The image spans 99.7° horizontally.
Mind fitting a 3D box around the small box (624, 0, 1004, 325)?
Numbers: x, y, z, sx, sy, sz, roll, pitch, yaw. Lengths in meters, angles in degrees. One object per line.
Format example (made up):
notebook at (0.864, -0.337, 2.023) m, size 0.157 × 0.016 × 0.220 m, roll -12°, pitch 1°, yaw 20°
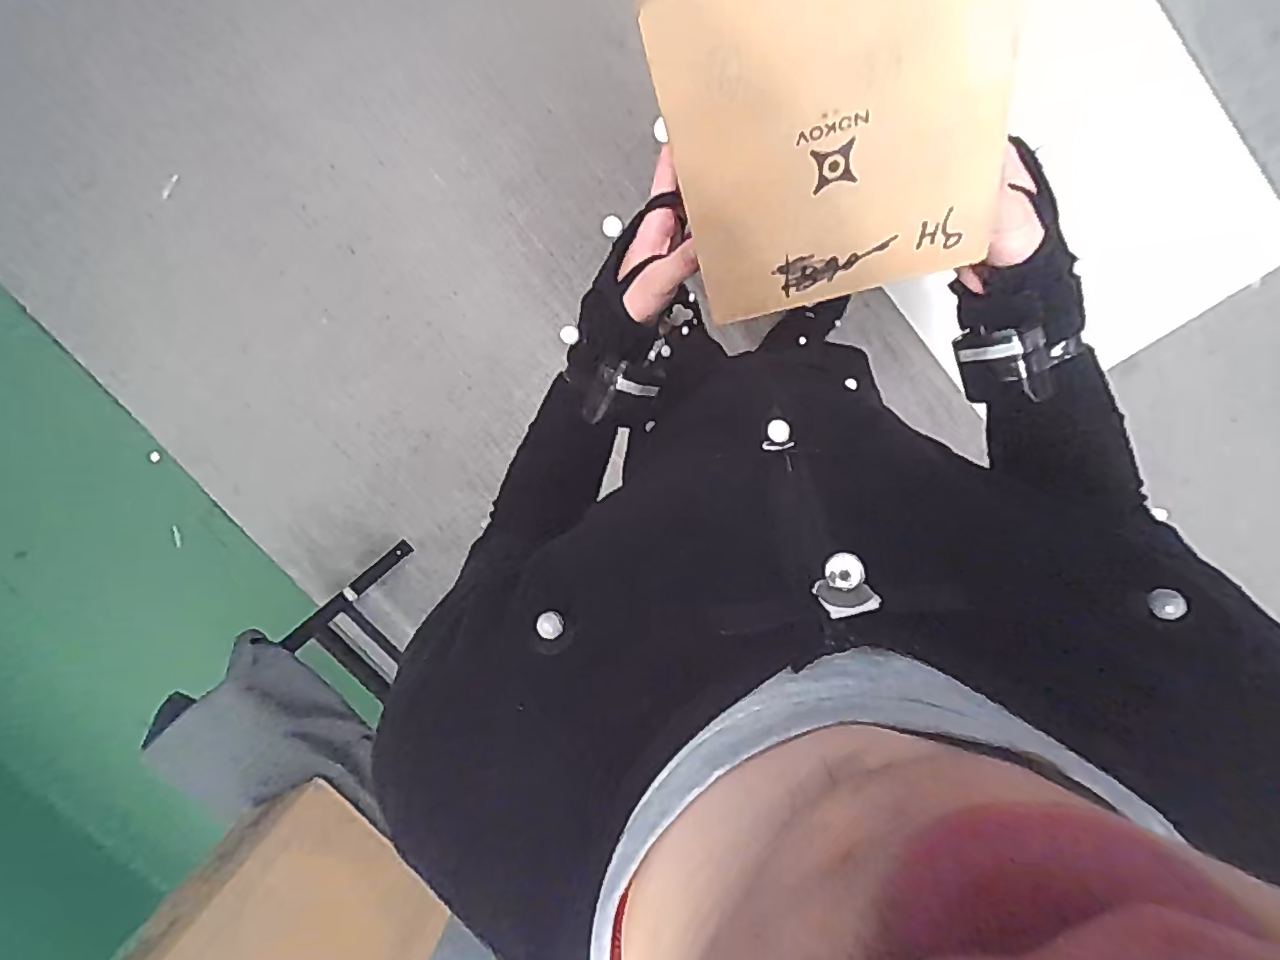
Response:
small box at (0.097, -0.231, 0.336) m, size 0.168 × 0.176 × 0.179 m, roll -9°, pitch 136°, yaw 16°
